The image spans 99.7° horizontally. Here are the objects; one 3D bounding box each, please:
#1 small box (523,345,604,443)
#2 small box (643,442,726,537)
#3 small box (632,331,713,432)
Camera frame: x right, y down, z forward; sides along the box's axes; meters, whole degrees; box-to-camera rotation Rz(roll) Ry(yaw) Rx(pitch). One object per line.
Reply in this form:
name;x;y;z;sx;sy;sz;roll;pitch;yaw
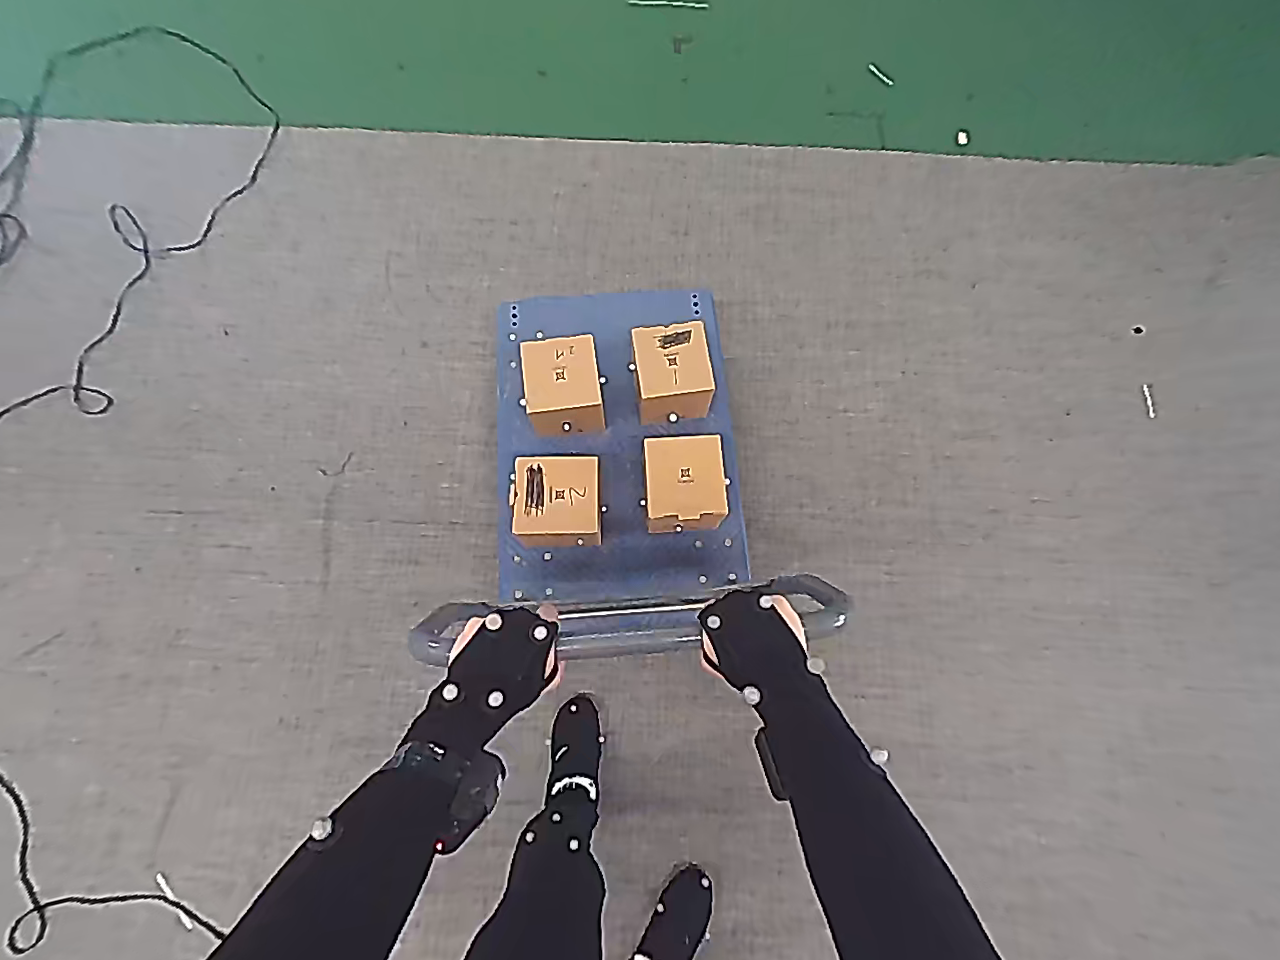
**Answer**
small box;-0.178;-0.197;1.292;0.168;0.176;0.179;-8;74;-4
small box;0.094;0.026;1.231;0.168;0.176;0.179;-3;74;-2
small box;0.072;-0.233;1.305;0.168;0.176;0.179;-8;75;-2
